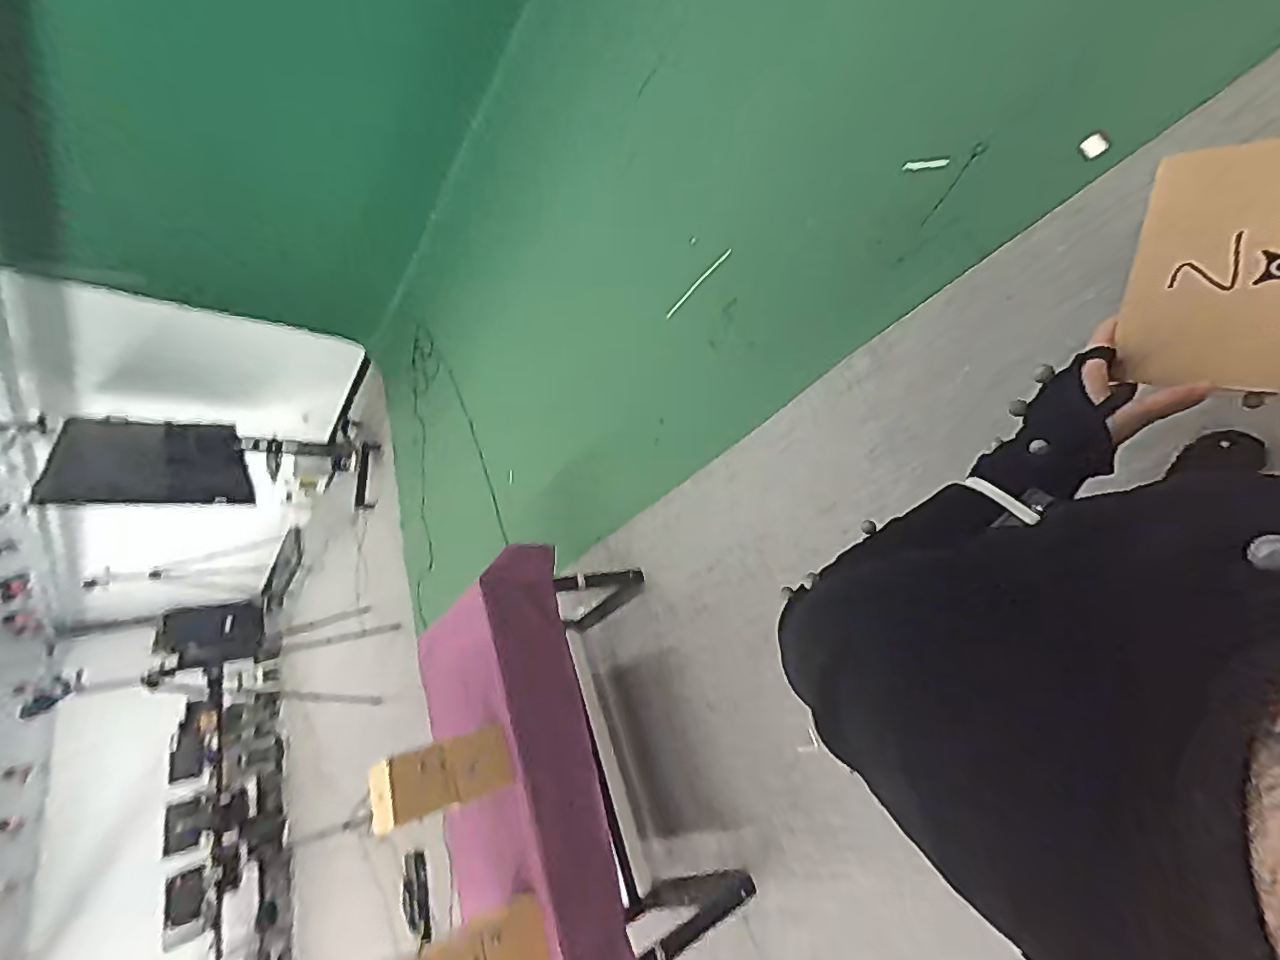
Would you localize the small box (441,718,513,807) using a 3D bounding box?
[{"bbox_3d":[-0.488,0.821,1.576,0.168,0.176,0.179,-39,60,39],"label":"small box"}]

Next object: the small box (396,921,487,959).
[{"bbox_3d":[-0.470,1.193,1.294,0.179,0.176,0.168,-43,57,39],"label":"small box"}]

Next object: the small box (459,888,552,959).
[{"bbox_3d":[-0.347,1.200,1.402,0.168,0.176,0.179,-42,58,38],"label":"small box"}]

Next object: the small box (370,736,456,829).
[{"bbox_3d":[-0.613,0.817,1.471,0.179,0.176,0.168,-43,58,39],"label":"small box"}]

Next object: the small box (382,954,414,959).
[{"bbox_3d":[-0.590,1.178,1.182,0.179,0.176,0.168,-41,58,38],"label":"small box"}]
